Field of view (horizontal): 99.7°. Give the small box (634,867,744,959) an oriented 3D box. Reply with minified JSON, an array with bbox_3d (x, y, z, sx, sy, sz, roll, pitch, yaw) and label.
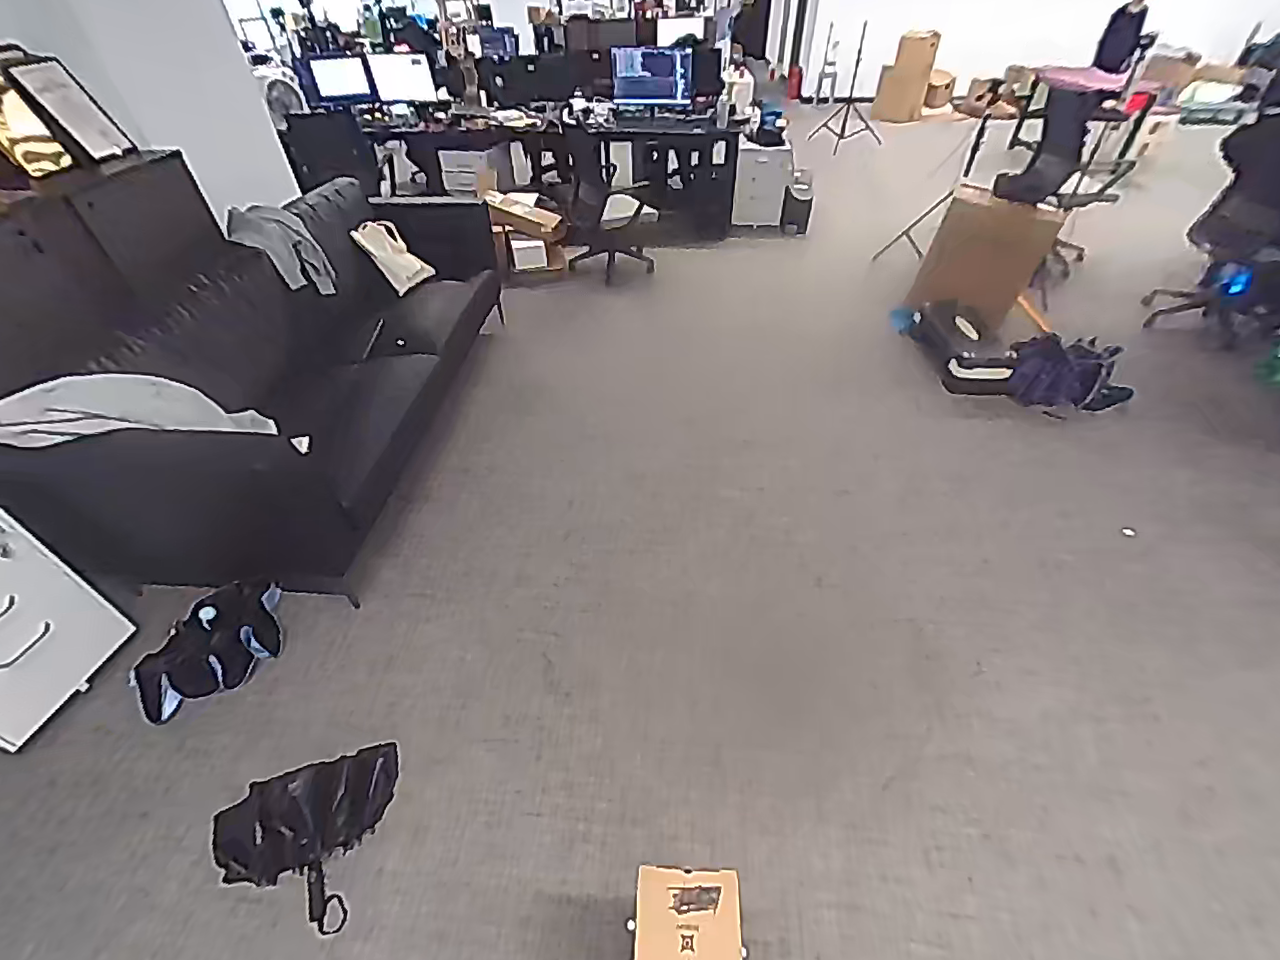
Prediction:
[{"bbox_3d":[0.076,0.758,0.882,0.168,0.176,0.179,2,46,3],"label":"small box"}]
